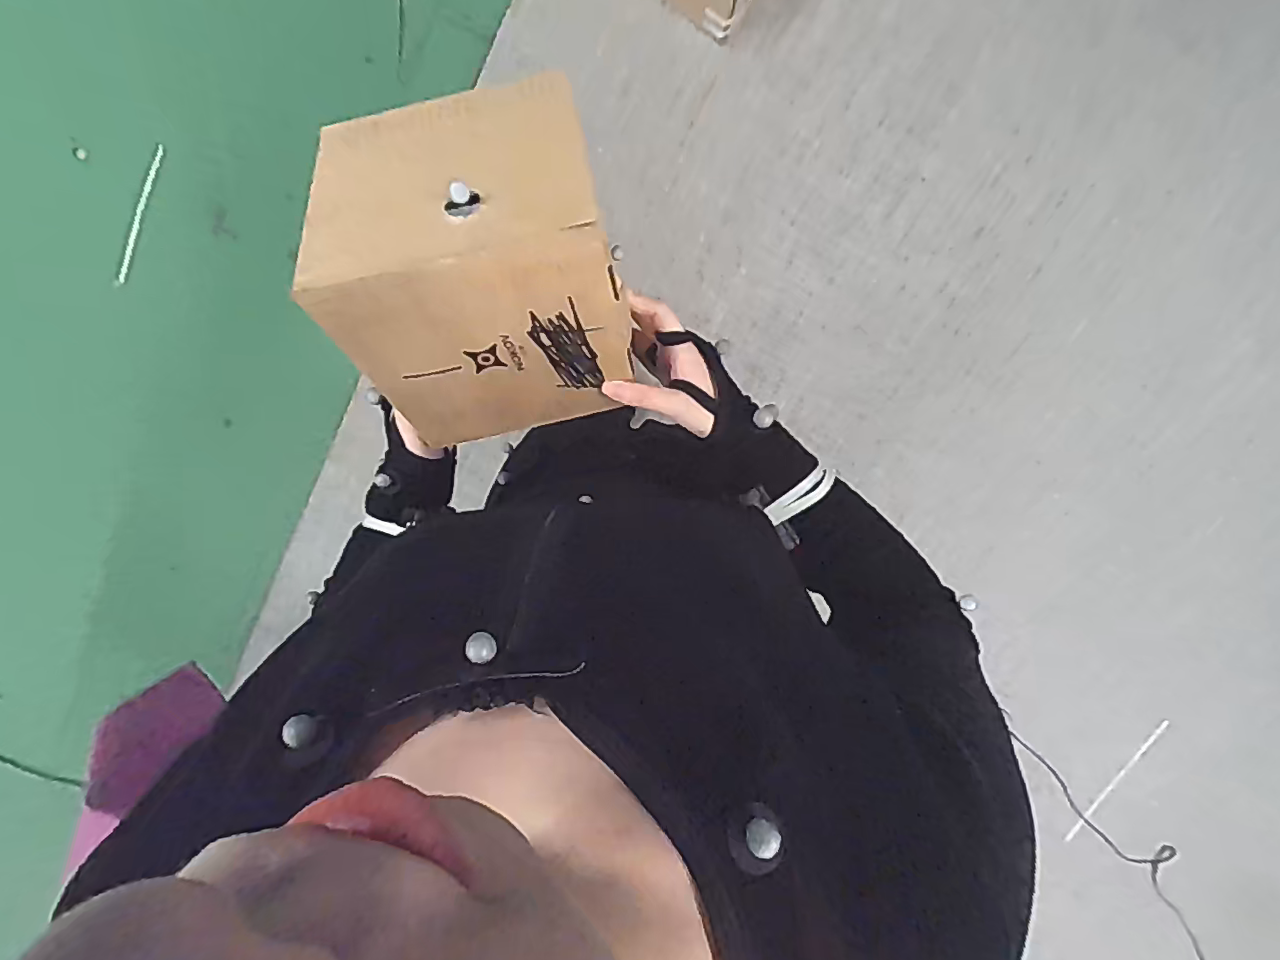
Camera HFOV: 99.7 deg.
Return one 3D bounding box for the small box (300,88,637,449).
[{"bbox_3d":[-0.109,-0.149,0.400,0.179,0.168,0.176,-12,61,2],"label":"small box"}]
